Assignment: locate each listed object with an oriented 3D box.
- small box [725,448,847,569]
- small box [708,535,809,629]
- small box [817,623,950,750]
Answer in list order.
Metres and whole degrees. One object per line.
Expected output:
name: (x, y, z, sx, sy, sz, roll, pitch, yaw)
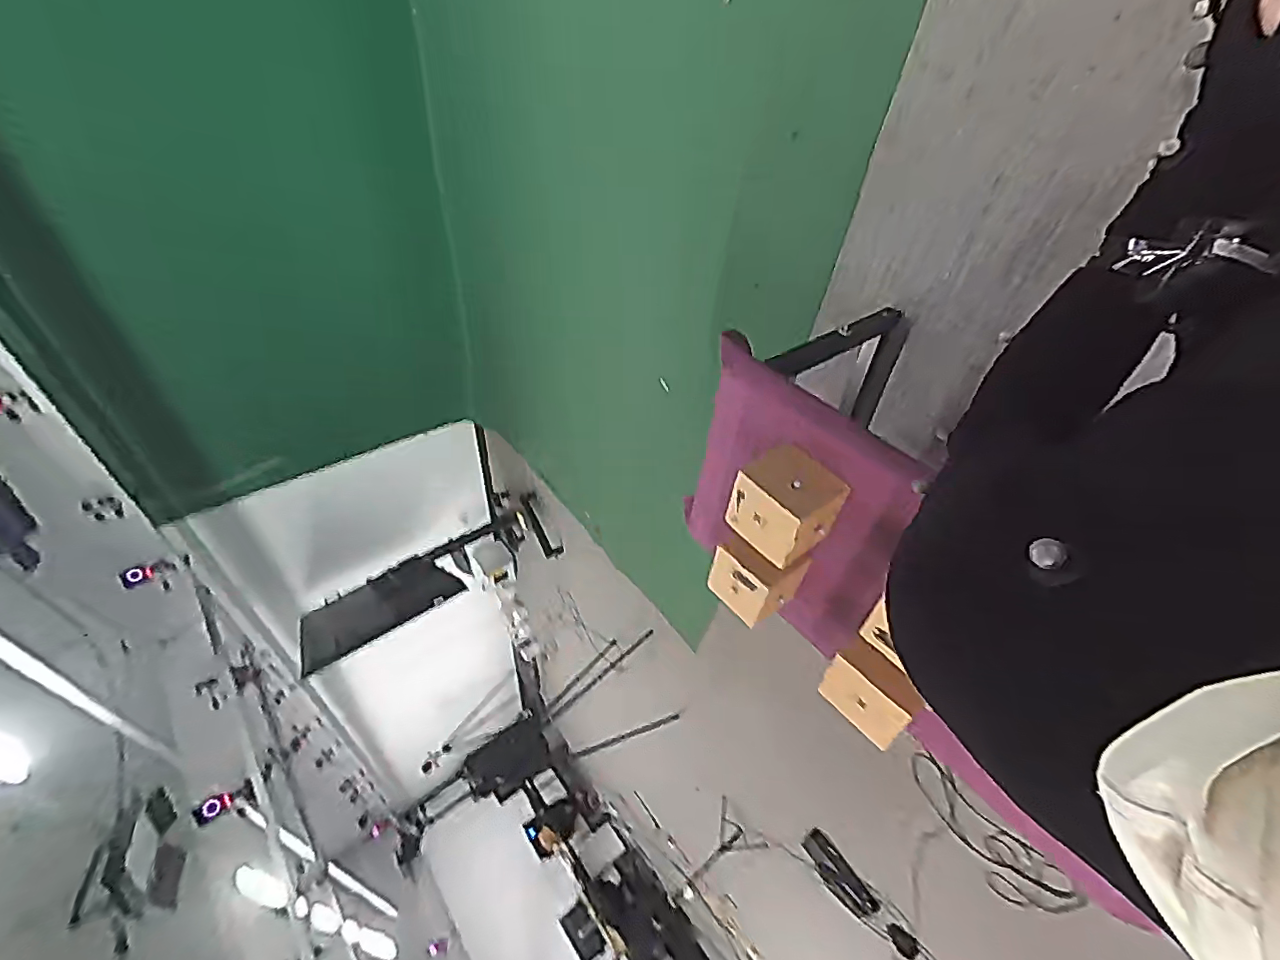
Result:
small box: (0.321, 0.055, 1.194, 0.179, 0.176, 0.168, 43, 145, 30)
small box: (0.301, 0.234, 1.370, 0.168, 0.176, 0.179, 43, 145, 32)
small box: (0.527, 0.438, 1.179, 0.179, 0.176, 0.168, 41, 144, 33)
